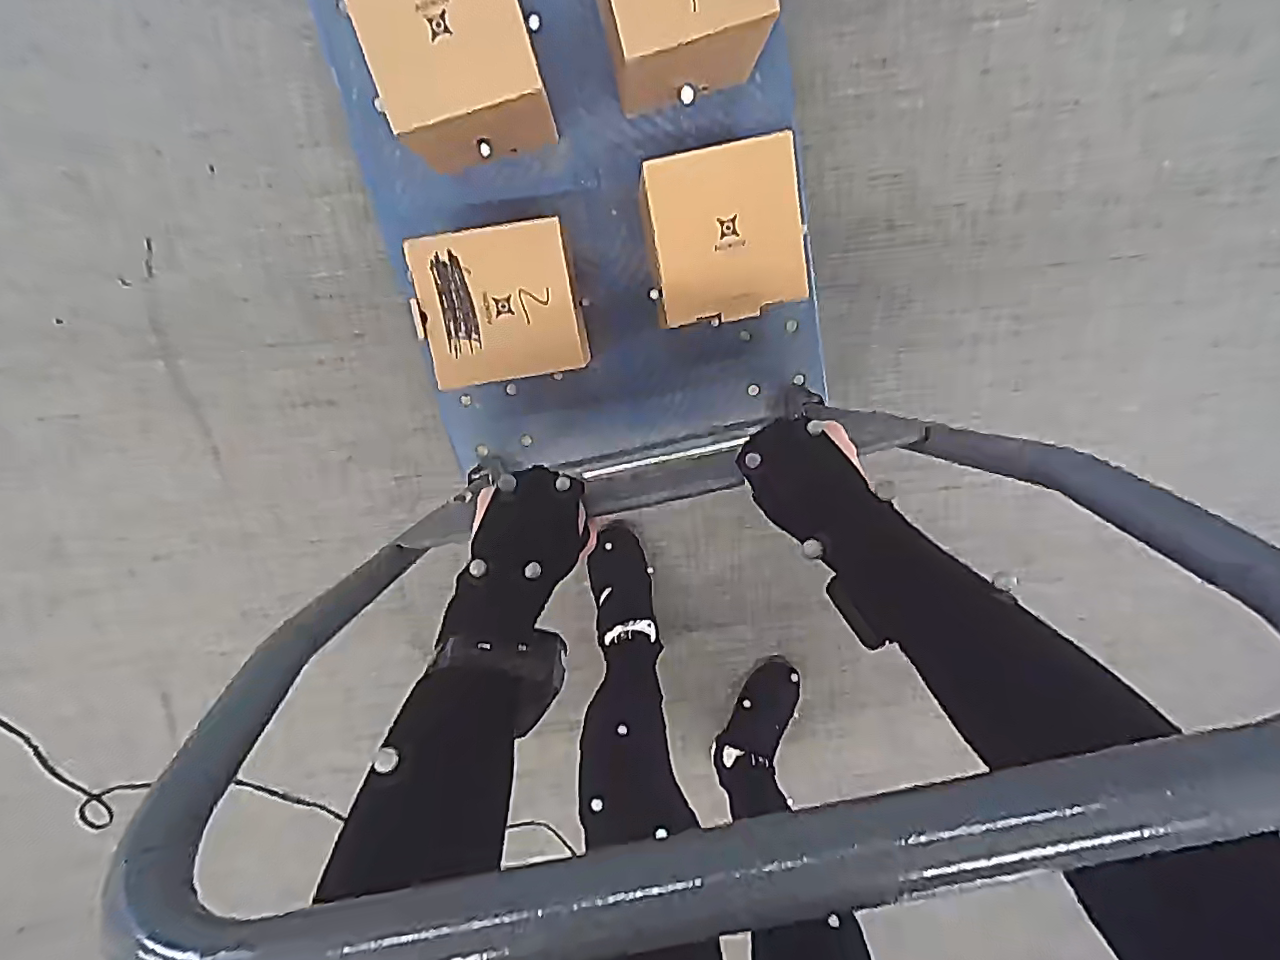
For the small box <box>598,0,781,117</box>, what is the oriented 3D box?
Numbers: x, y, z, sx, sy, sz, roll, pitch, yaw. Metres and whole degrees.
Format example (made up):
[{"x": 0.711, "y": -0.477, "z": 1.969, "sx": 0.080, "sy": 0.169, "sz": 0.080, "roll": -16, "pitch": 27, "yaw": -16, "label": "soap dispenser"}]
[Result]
[{"x": 0.041, "y": -0.548, "z": 0.601, "sx": 0.168, "sy": 0.176, "sz": 0.179, "roll": -15, "pitch": 107, "yaw": 3, "label": "small box"}]

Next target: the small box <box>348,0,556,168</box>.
[{"x": -0.202, "y": -0.480, "z": 0.614, "sx": 0.168, "sy": 0.176, "sz": 0.179, "roll": -15, "pitch": 105, "yaw": 2, "label": "small box"}]

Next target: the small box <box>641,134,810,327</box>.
[{"x": 0.097, "y": -0.294, "z": 0.676, "sx": 0.168, "sy": 0.176, "sz": 0.179, "roll": -11, "pitch": 106, "yaw": 1, "label": "small box"}]
